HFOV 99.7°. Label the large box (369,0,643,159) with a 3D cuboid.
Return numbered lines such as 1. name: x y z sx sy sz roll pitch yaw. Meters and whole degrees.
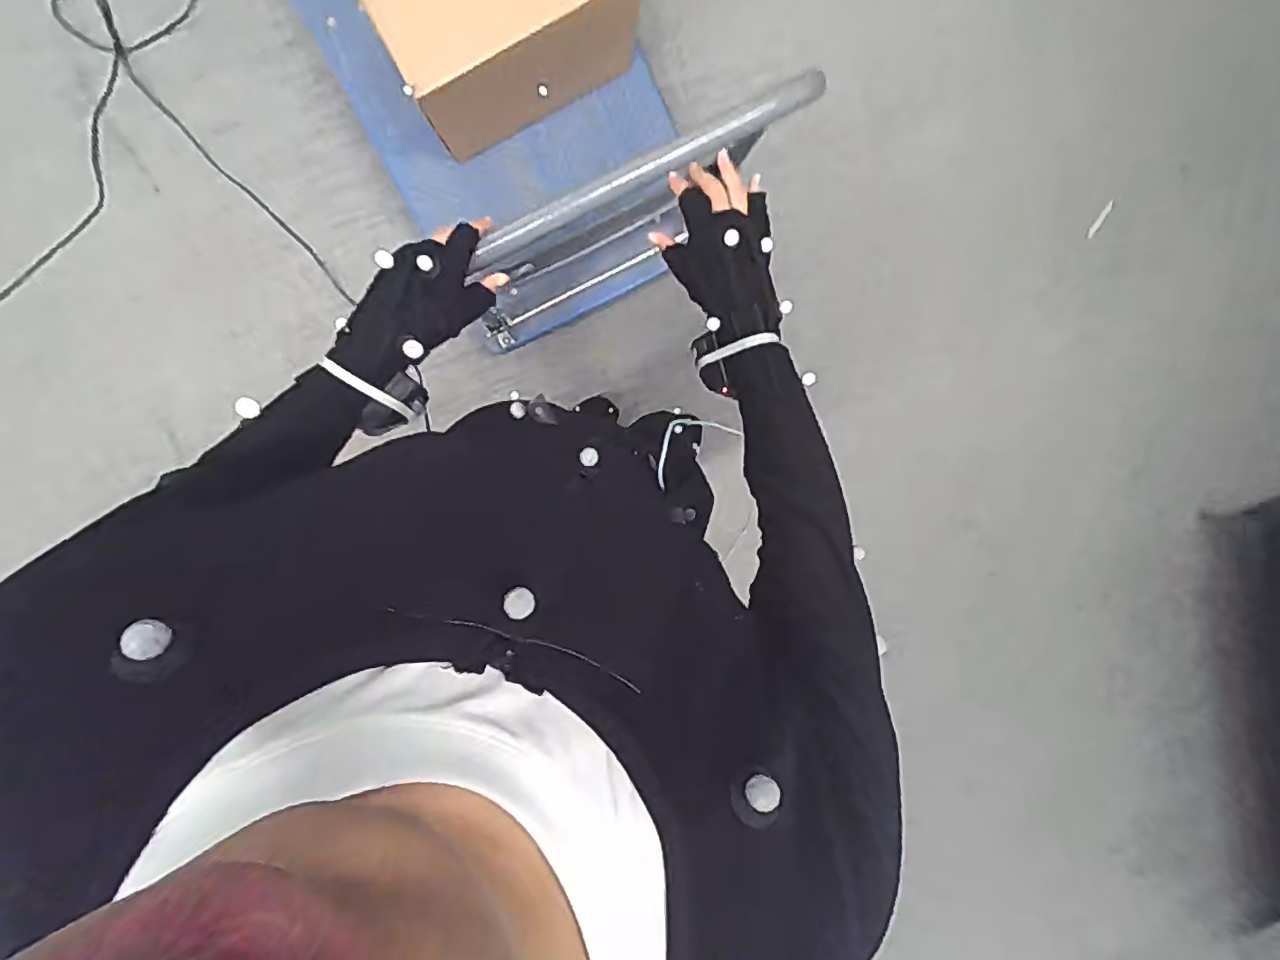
1. large box: -0.241 -0.845 0.930 0.408 0.320 0.320 -29 104 2
